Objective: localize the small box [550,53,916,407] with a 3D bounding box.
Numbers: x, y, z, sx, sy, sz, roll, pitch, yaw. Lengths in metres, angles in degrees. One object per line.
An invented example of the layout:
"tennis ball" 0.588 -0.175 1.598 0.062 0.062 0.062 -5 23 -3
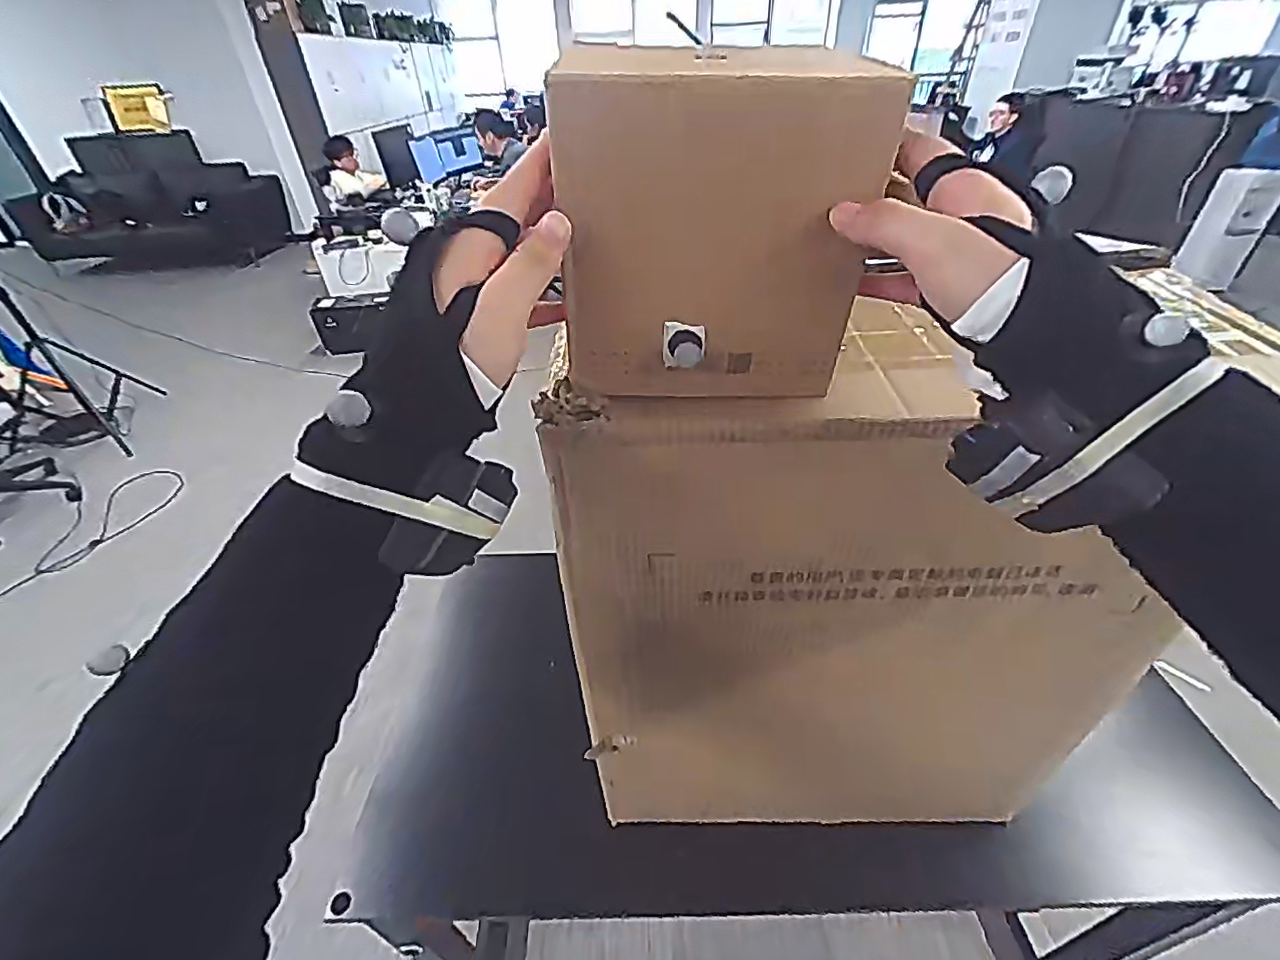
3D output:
"small box" 0.039 -0.165 0.352 0.168 0.176 0.179 -1 42 -1
